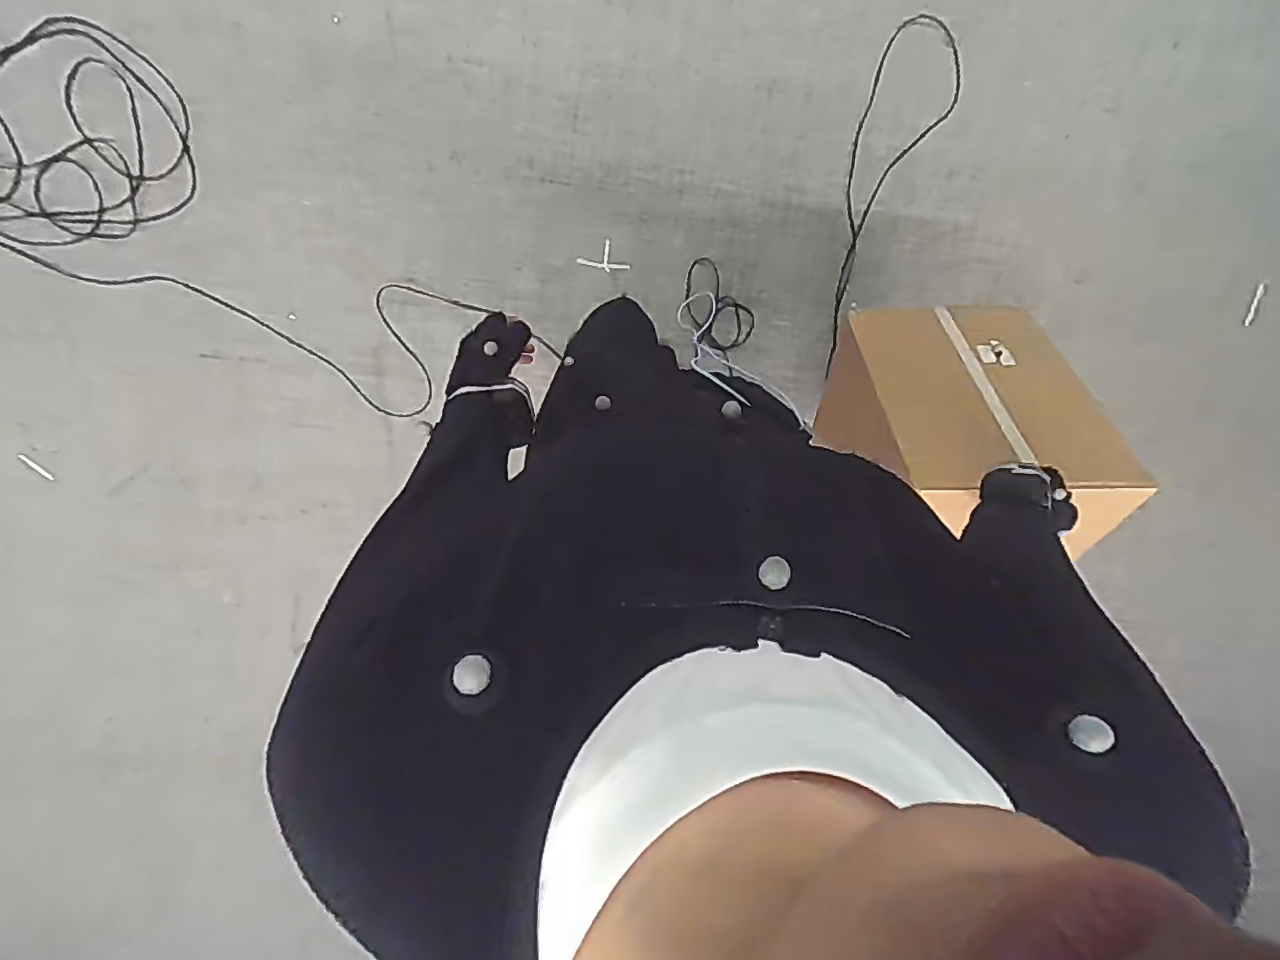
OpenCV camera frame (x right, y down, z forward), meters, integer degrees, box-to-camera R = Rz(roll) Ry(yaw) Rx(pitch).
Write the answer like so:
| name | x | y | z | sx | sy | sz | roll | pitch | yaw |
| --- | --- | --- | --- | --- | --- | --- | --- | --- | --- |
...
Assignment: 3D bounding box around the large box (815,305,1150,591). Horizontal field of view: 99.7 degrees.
| name | x | y | z | sx | sy | sz | roll | pitch | yaw |
| --- | --- | --- | --- | --- | --- | --- | --- | --- | --- |
| large box | 0.525 | -0.055 | 0.948 | 0.320 | 0.408 | 0.320 | -1 | 141 | 2 |
